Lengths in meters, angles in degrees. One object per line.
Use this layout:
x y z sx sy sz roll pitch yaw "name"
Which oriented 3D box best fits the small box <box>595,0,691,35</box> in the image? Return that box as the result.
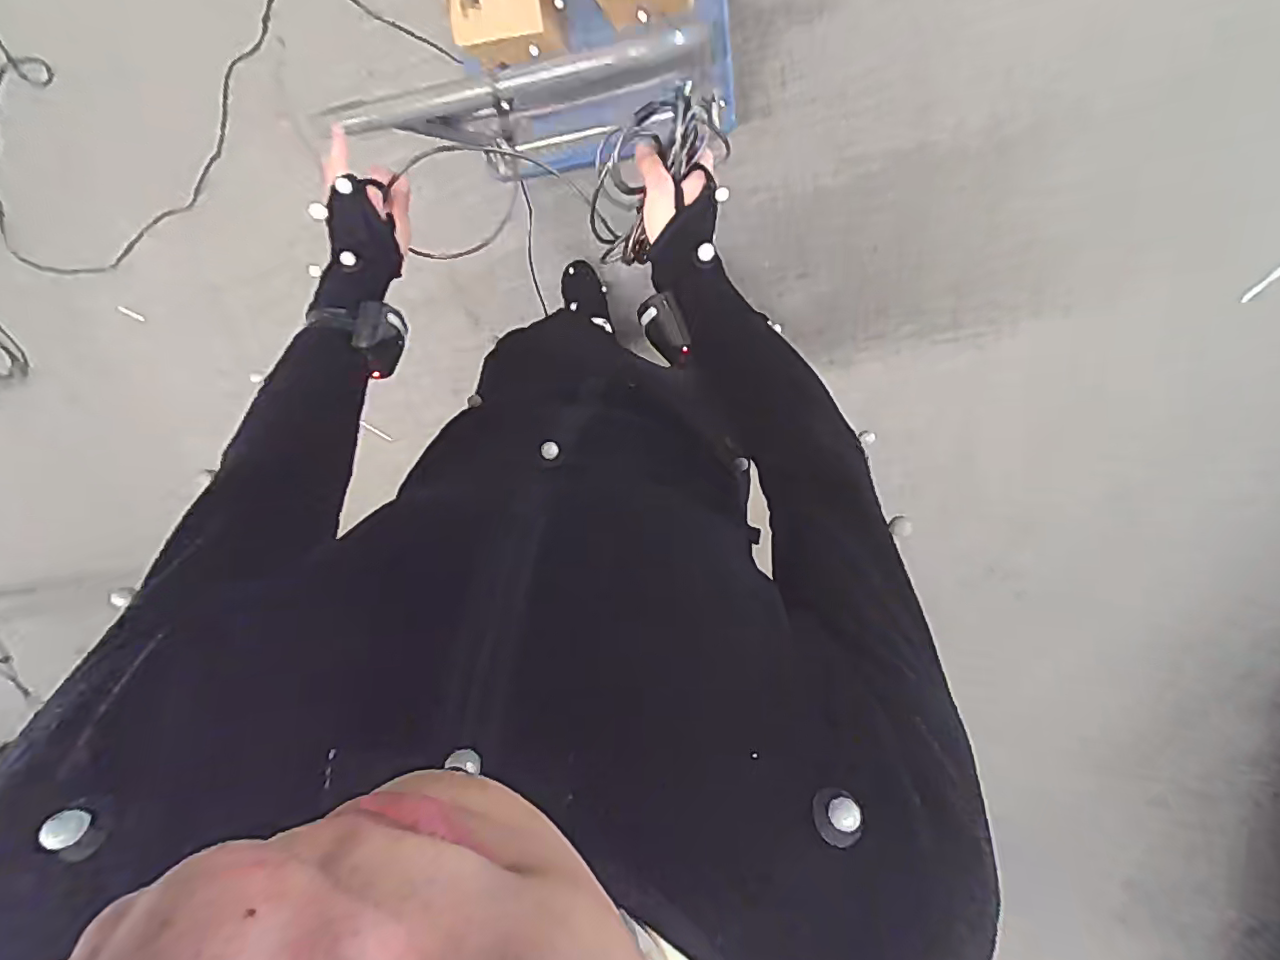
0.001 -0.967 0.994 0.168 0.176 0.179 -3 114 12 "small box"
